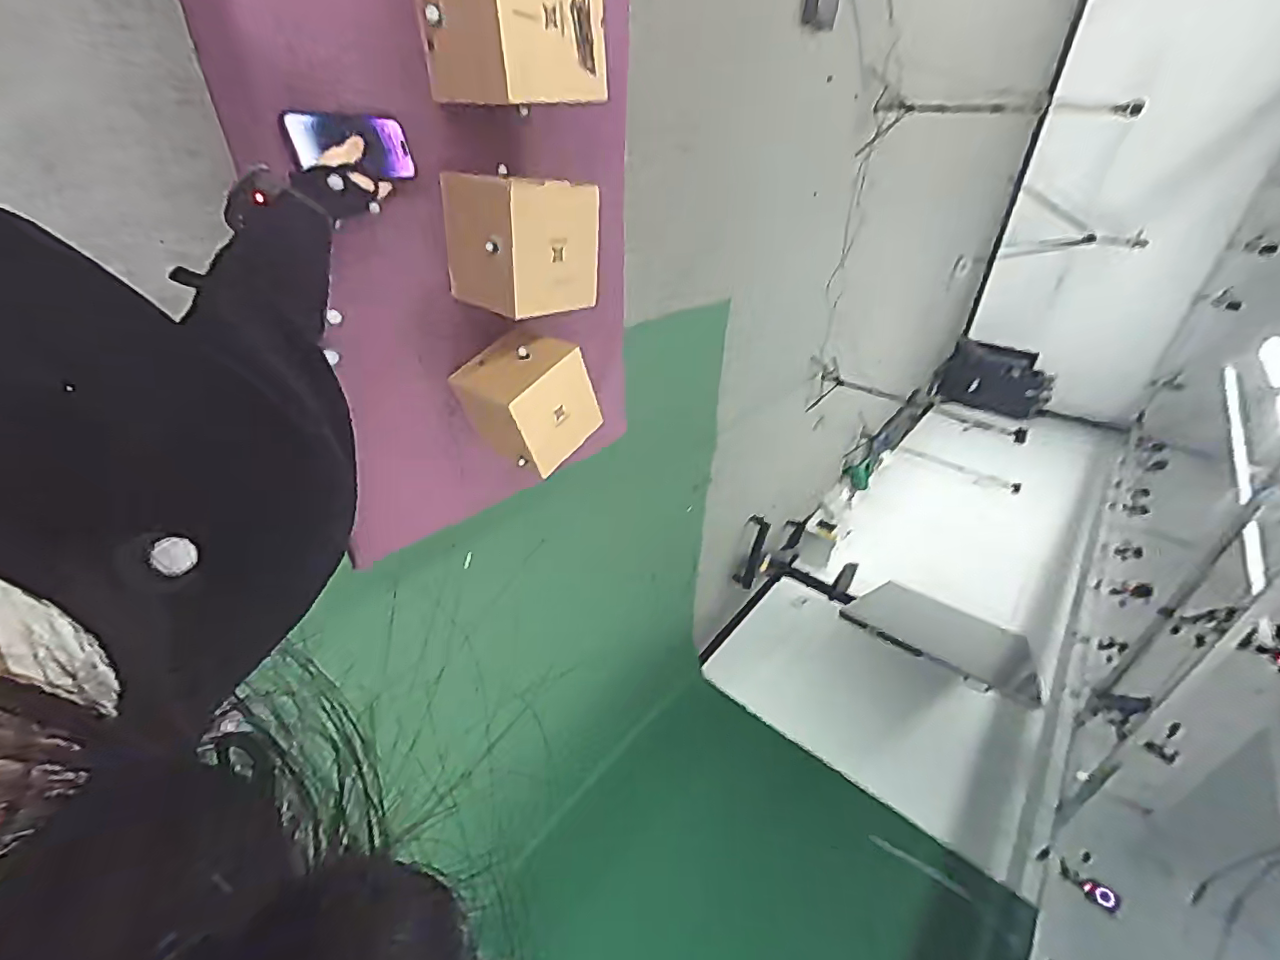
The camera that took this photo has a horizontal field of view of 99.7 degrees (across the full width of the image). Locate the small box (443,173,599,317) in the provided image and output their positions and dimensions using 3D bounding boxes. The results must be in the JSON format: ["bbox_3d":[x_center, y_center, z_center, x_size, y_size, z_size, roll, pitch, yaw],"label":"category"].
[{"bbox_3d":[-0.182,-0.361,0.825,0.168,0.176,0.179,-26,133,-43],"label":"small box"}]

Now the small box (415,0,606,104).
[{"bbox_3d":[-0.163,-0.584,0.692,0.179,0.176,0.168,-33,137,-38],"label":"small box"}]

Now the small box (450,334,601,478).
[{"bbox_3d":[-0.199,-0.139,0.955,0.168,0.176,0.179,-47,145,-26],"label":"small box"}]
